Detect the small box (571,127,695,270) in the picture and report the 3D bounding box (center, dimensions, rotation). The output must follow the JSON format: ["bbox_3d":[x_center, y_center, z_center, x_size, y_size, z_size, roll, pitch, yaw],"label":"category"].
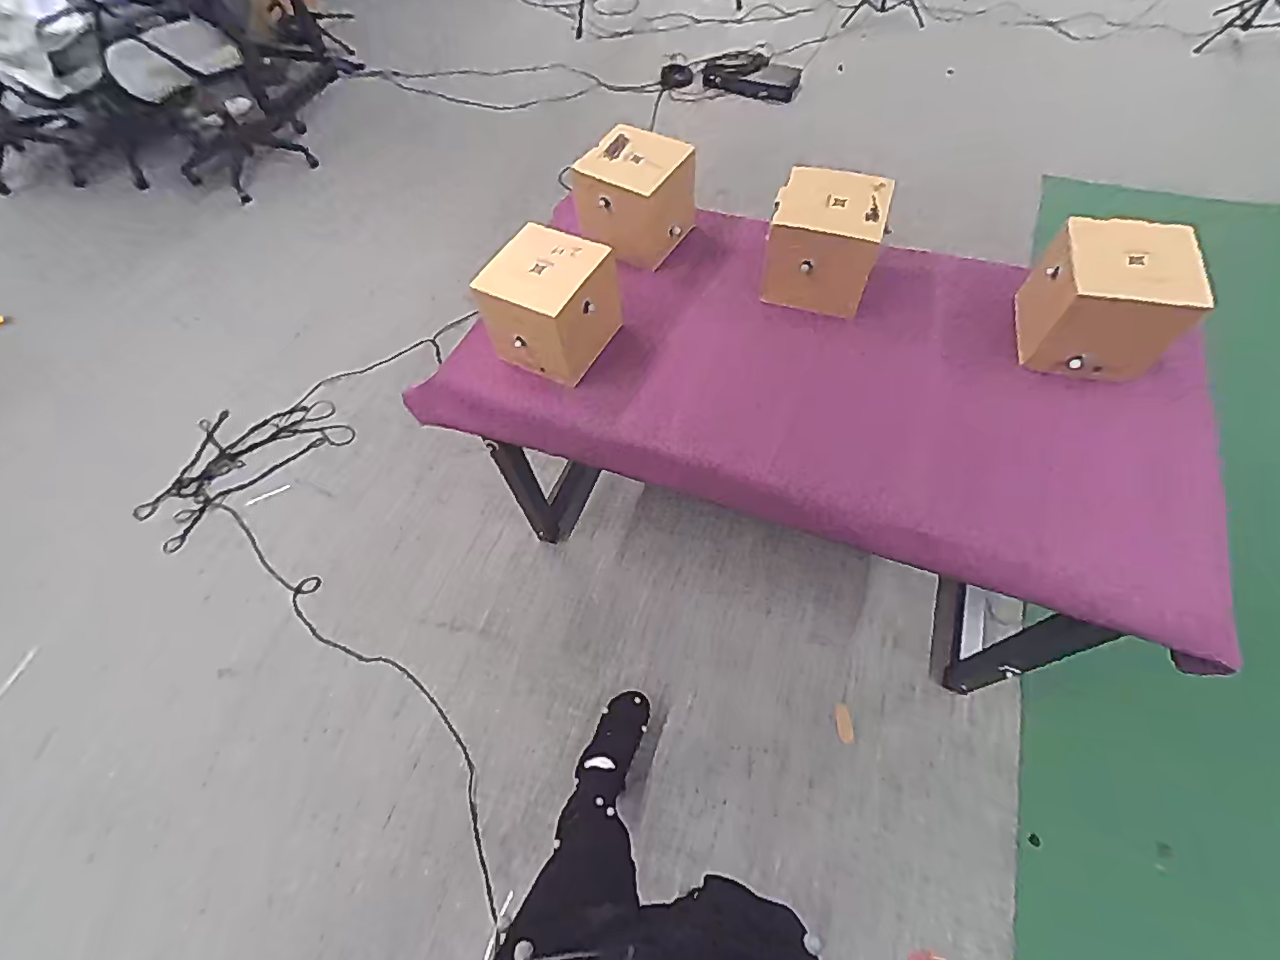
[{"bbox_3d":[-0.009,-0.544,1.058,0.179,0.176,0.168,29,67,17],"label":"small box"}]

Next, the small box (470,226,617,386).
[{"bbox_3d":[-0.150,-0.291,0.923,0.168,0.176,0.179,24,64,16],"label":"small box"}]

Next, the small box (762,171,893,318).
[{"bbox_3d":[0.324,-0.414,0.961,0.179,0.176,0.168,16,64,14],"label":"small box"}]

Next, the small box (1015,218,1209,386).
[{"bbox_3d":[0.721,-0.277,0.853,0.168,0.176,0.179,12,63,13],"label":"small box"}]
